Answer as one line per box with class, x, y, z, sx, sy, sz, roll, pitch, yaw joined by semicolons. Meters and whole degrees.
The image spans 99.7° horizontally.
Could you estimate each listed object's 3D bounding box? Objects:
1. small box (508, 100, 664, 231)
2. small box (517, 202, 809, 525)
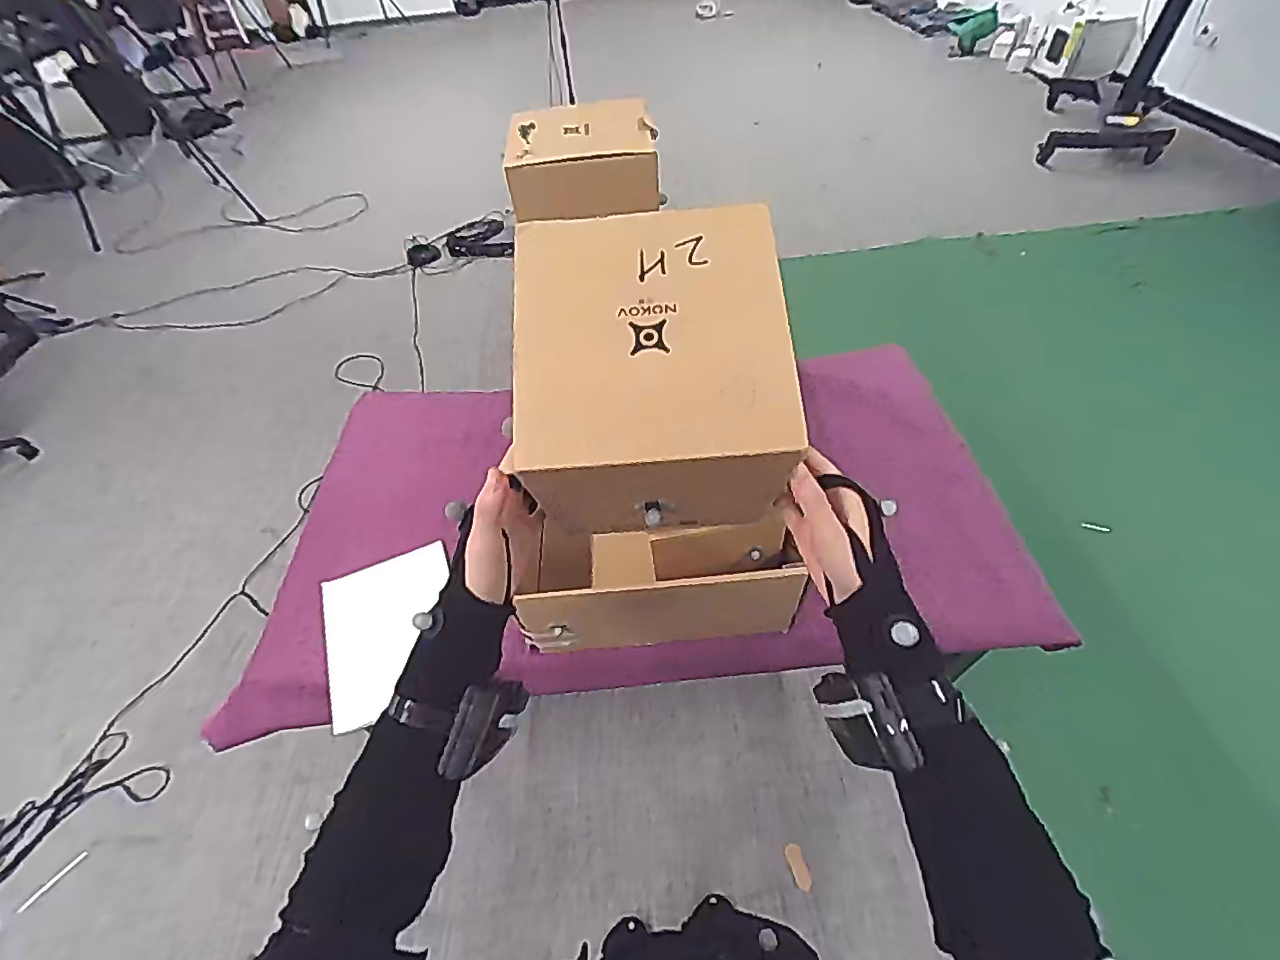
small box;-0.063;-0.370;0.712;0.179;0.176;0.168;-5;51;0
small box;0.012;-0.067;0.398;0.168;0.176;0.179;-3;71;1
